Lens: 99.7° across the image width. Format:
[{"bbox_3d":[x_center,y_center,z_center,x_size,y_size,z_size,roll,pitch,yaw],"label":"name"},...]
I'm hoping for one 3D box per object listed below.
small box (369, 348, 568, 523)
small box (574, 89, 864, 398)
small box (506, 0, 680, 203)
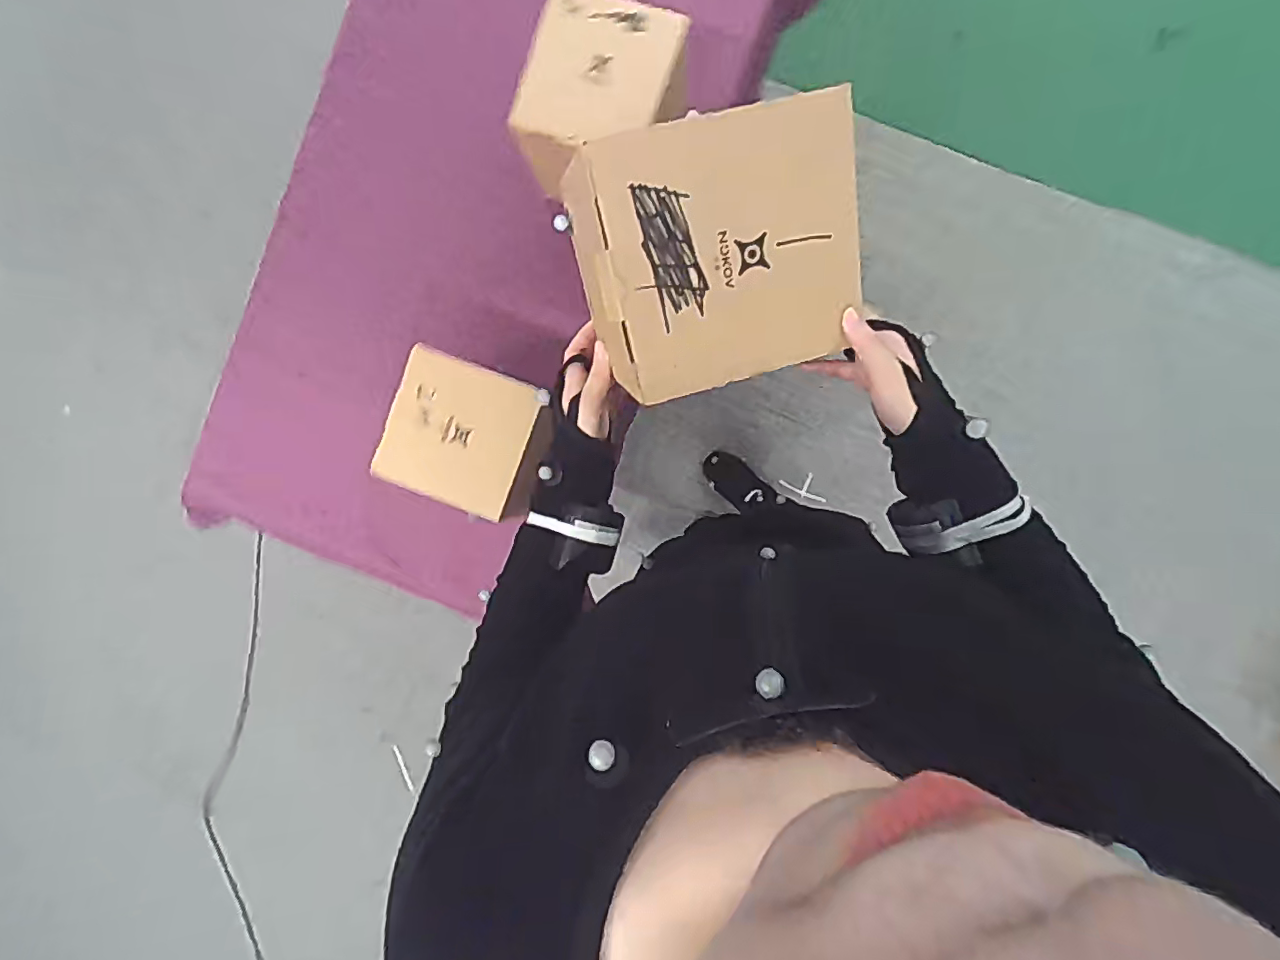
[{"bbox_3d":[-0.213,-0.054,0.722,0.179,0.176,0.168,21,91,5],"label":"small box"},{"bbox_3d":[0.050,-0.177,0.430,0.179,0.176,0.168,-16,114,-7],"label":"small box"},{"bbox_3d":[-0.048,-0.470,0.708,0.168,0.176,0.179,19,92,5],"label":"small box"}]
